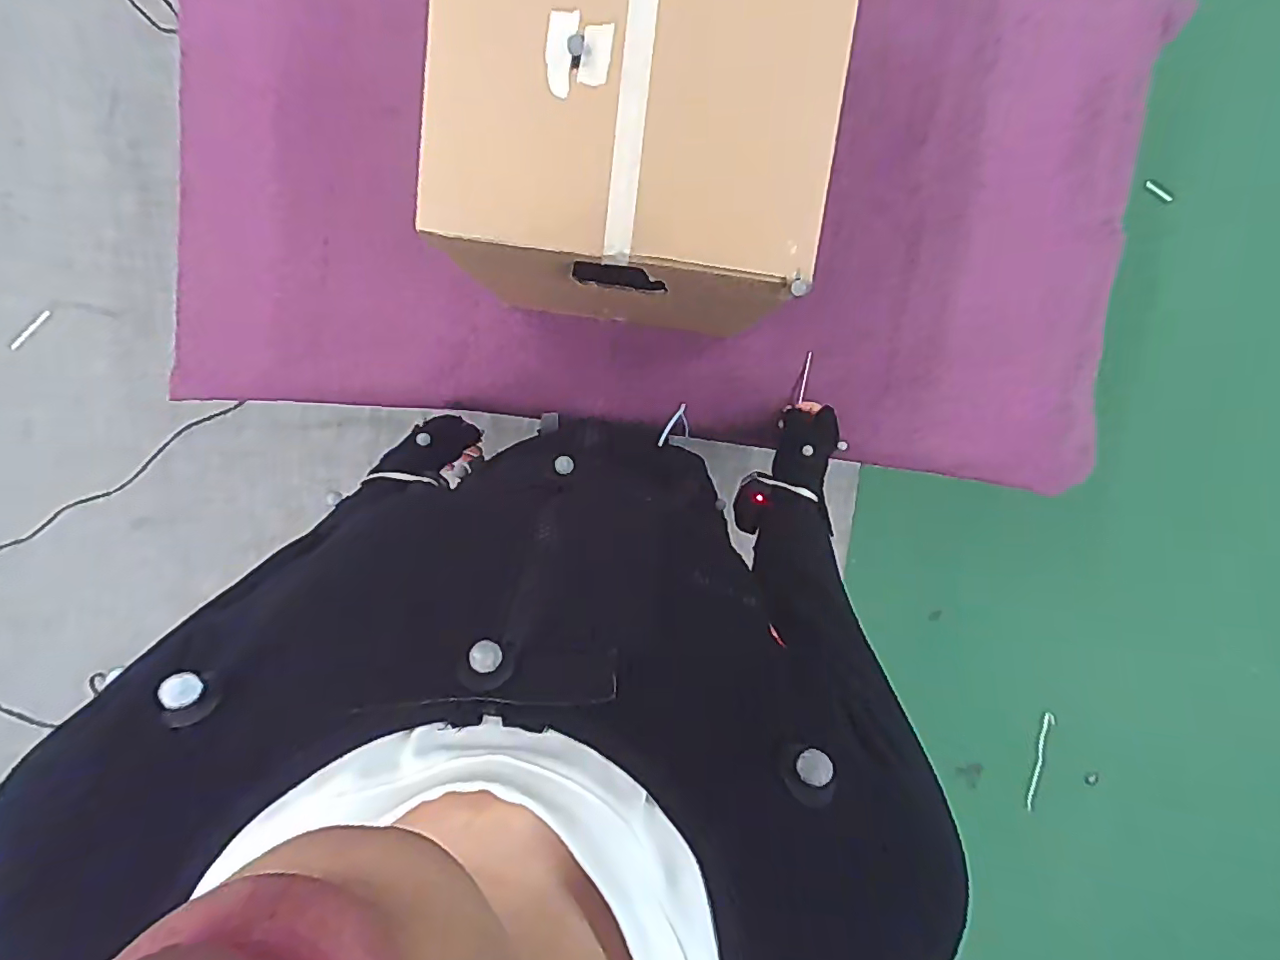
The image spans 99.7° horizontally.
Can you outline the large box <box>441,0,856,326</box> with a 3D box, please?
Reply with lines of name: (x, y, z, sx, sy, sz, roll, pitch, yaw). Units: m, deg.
large box: (0.008, -0.399, 0.558, 0.320, 0.320, 0.408, 7, 99, -2)
